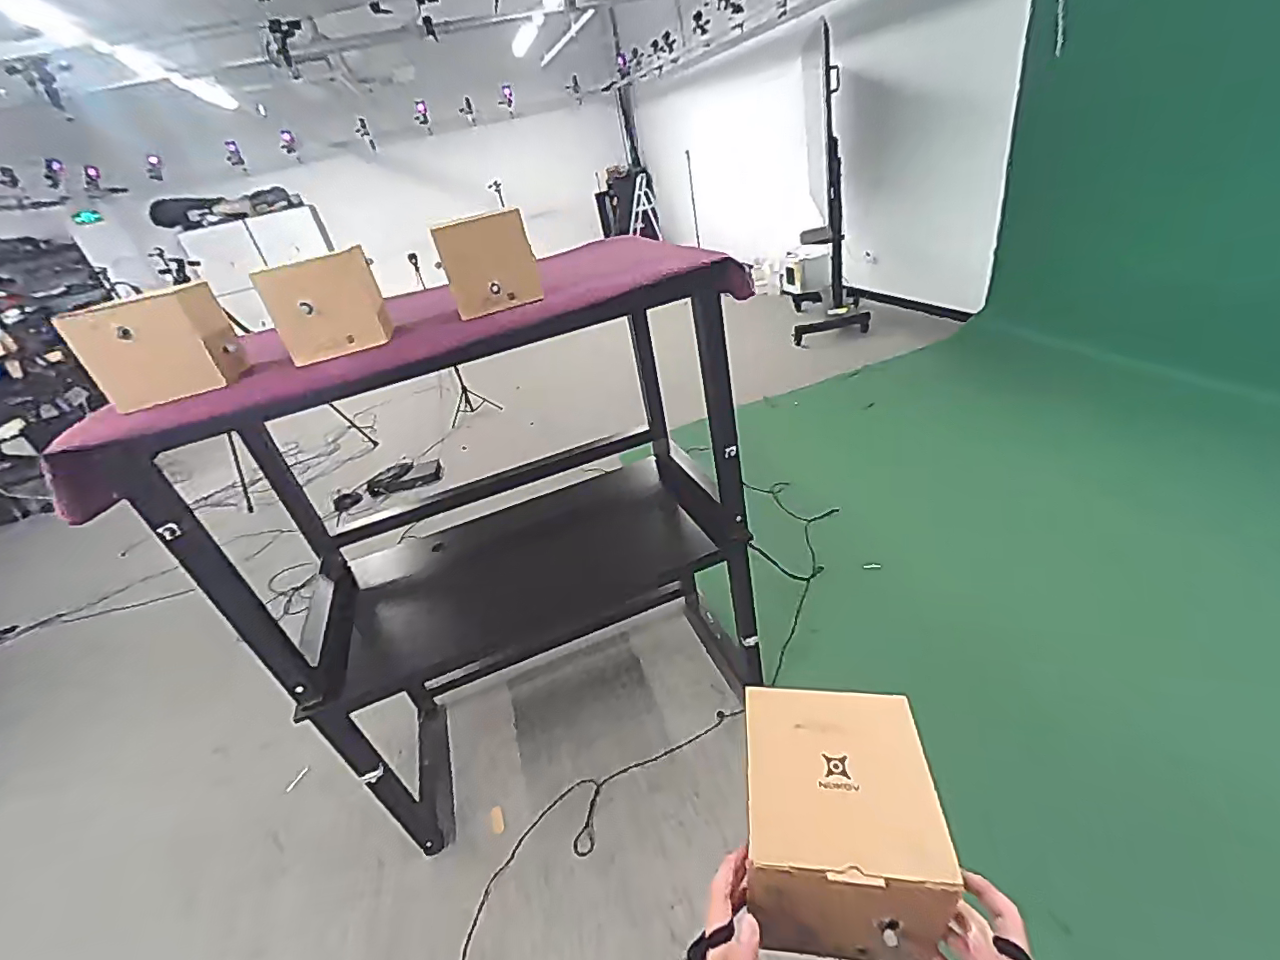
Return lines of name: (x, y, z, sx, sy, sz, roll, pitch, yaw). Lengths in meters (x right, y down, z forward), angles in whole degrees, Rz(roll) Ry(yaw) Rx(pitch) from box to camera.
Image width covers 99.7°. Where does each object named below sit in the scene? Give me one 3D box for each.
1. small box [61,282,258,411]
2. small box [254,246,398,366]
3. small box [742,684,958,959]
small box: (-0.838, -0.240, 0.968, 0.179, 0.176, 0.168, -19, 31, -11)
small box: (-0.574, -0.328, 1.018, 0.168, 0.176, 0.179, -19, 30, -10)
small box: (0.189, 0.336, 0.542, 0.168, 0.176, 0.179, 0, 32, 10)
